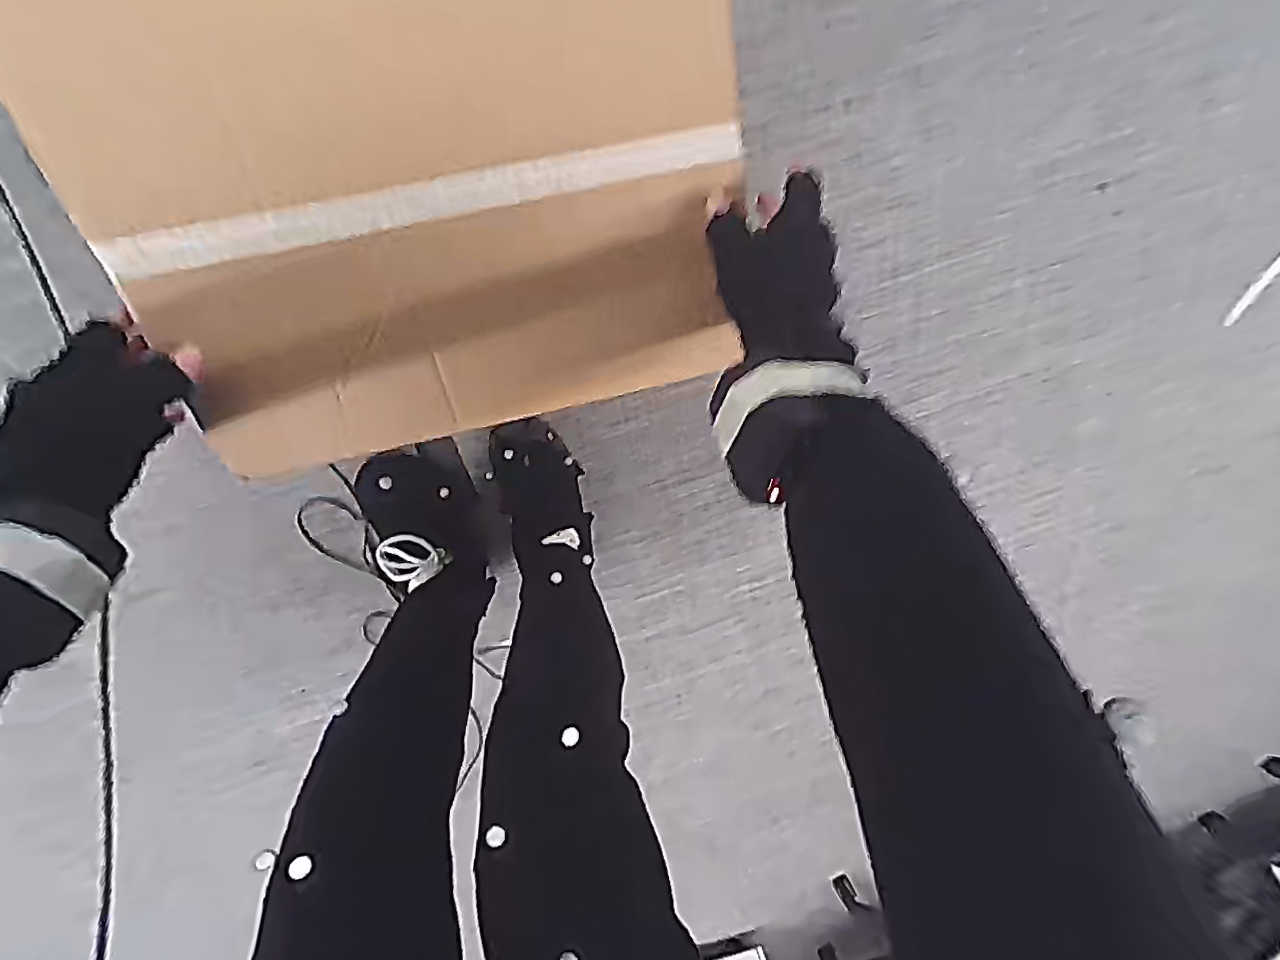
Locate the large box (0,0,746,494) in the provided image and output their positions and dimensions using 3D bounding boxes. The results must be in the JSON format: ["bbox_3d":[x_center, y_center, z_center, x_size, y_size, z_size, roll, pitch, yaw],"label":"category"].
[{"bbox_3d":[-0.158,-0.236,0.482,0.408,0.320,0.320,-14,117,-6],"label":"large box"}]
